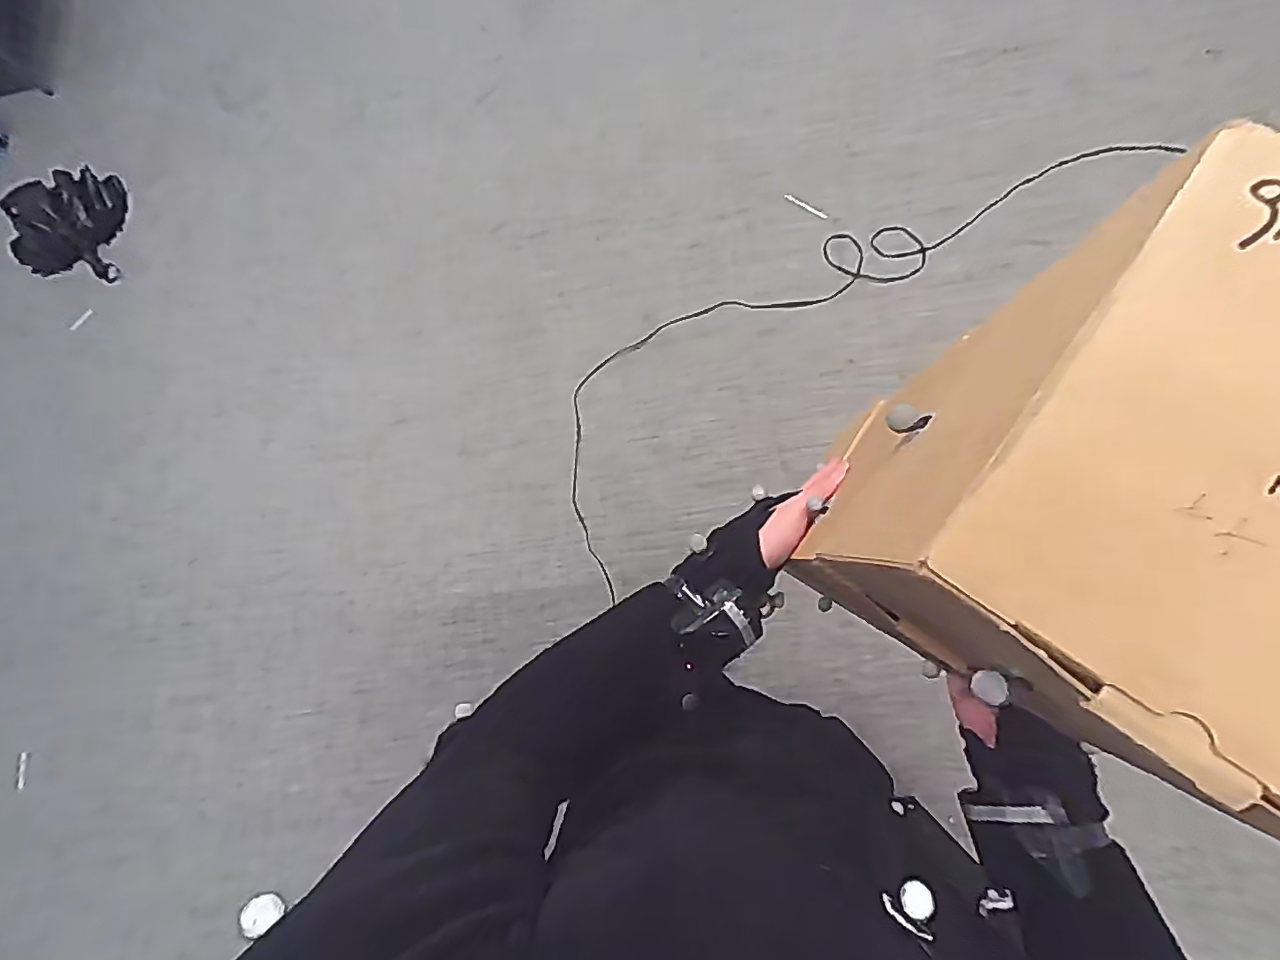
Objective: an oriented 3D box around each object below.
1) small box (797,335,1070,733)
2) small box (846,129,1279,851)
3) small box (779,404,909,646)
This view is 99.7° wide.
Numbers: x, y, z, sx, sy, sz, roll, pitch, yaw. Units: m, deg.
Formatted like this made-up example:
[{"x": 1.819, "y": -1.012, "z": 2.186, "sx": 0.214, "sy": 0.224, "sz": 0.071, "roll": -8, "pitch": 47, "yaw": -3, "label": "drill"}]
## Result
[{"x": 0.231, "y": 0.037, "z": 0.390, "sx": 0.168, "sy": 0.176, "sz": 0.179, "roll": 33, "pitch": 87, "yaw": 11, "label": "small box"}, {"x": 0.210, "y": 0.016, "z": 0.229, "sx": 0.168, "sy": 0.176, "sz": 0.179, "roll": 35, "pitch": 89, "yaw": 11, "label": "small box"}, {"x": 0.257, "y": 0.054, "z": 0.549, "sx": 0.168, "sy": 0.176, "sz": 0.179, "roll": 32, "pitch": 88, "yaw": 11, "label": "small box"}]
